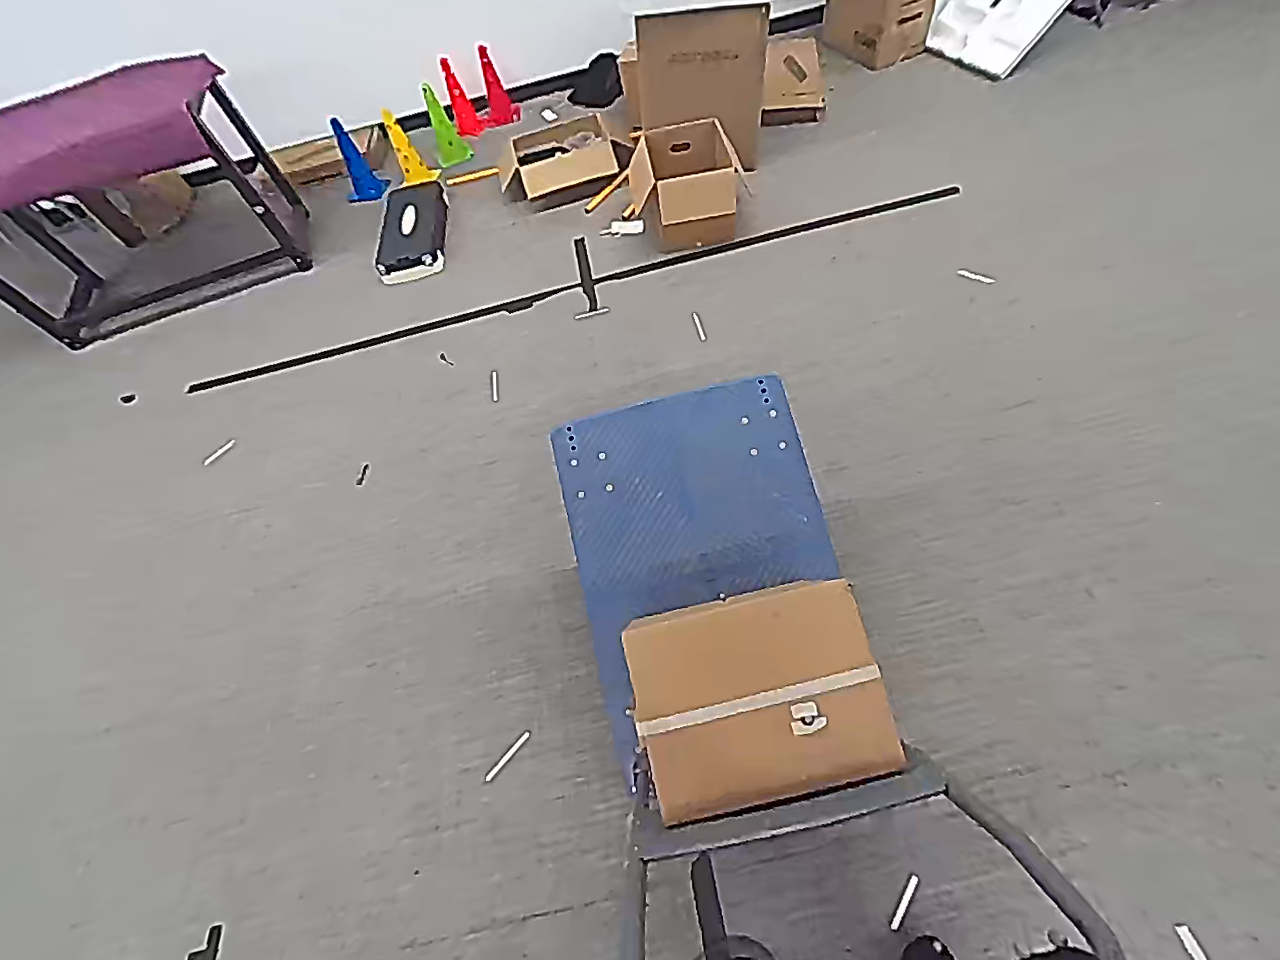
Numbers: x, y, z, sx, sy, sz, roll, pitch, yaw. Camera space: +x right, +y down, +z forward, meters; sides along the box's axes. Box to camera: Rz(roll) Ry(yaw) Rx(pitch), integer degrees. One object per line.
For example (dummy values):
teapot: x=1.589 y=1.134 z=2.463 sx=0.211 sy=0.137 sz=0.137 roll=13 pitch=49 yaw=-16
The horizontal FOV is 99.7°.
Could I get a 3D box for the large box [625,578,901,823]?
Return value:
large box: x=0.207 y=0.397 z=1.059 sx=0.408 sy=0.320 sz=0.320 roll=-15 pitch=79 yaw=-1
